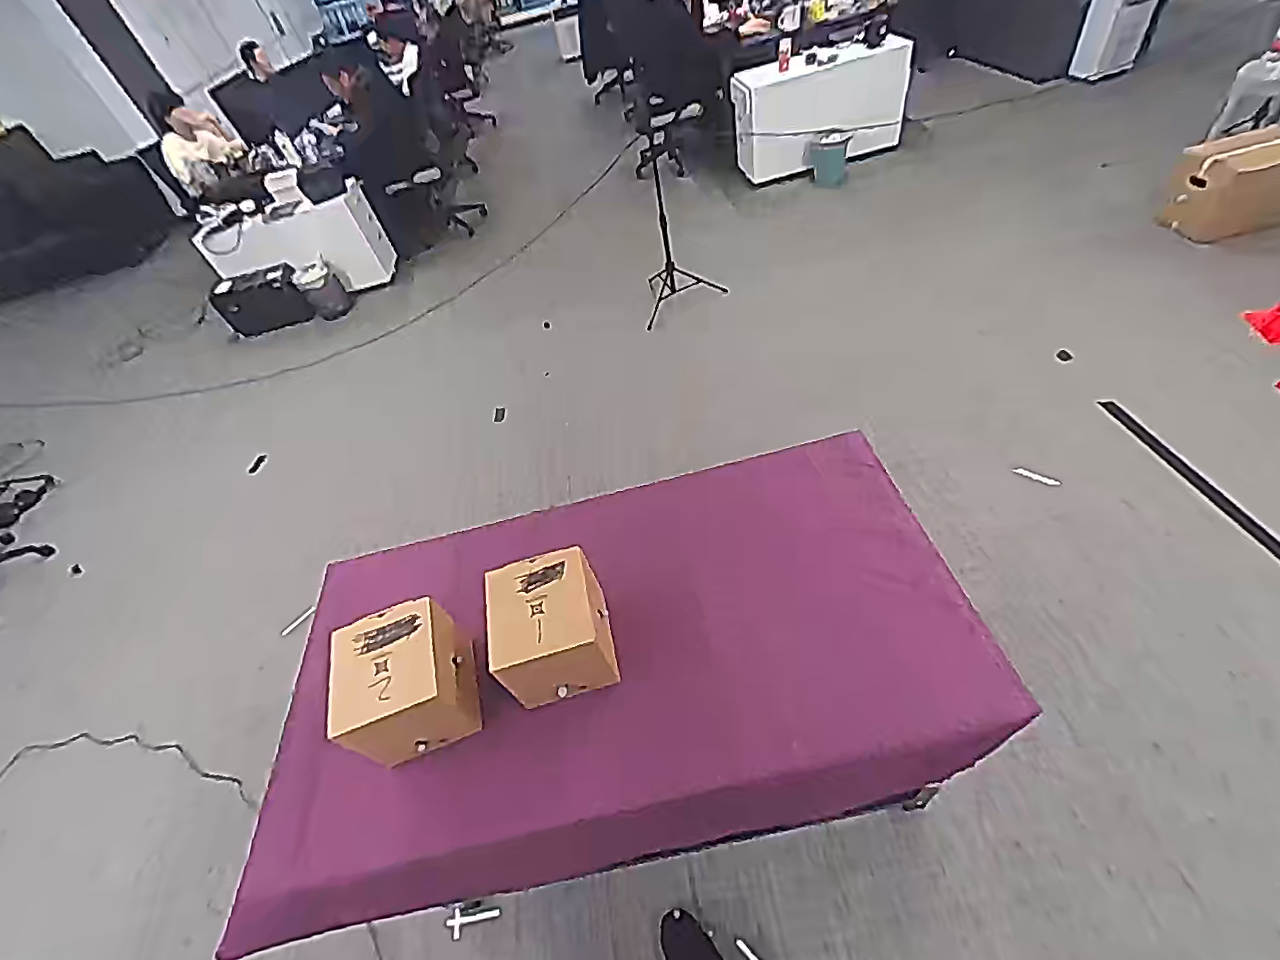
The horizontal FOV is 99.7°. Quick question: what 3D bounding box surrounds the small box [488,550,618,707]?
[{"bbox_3d":[-0.144,0.251,0.909,0.168,0.176,0.179,-17,48,0],"label":"small box"}]
